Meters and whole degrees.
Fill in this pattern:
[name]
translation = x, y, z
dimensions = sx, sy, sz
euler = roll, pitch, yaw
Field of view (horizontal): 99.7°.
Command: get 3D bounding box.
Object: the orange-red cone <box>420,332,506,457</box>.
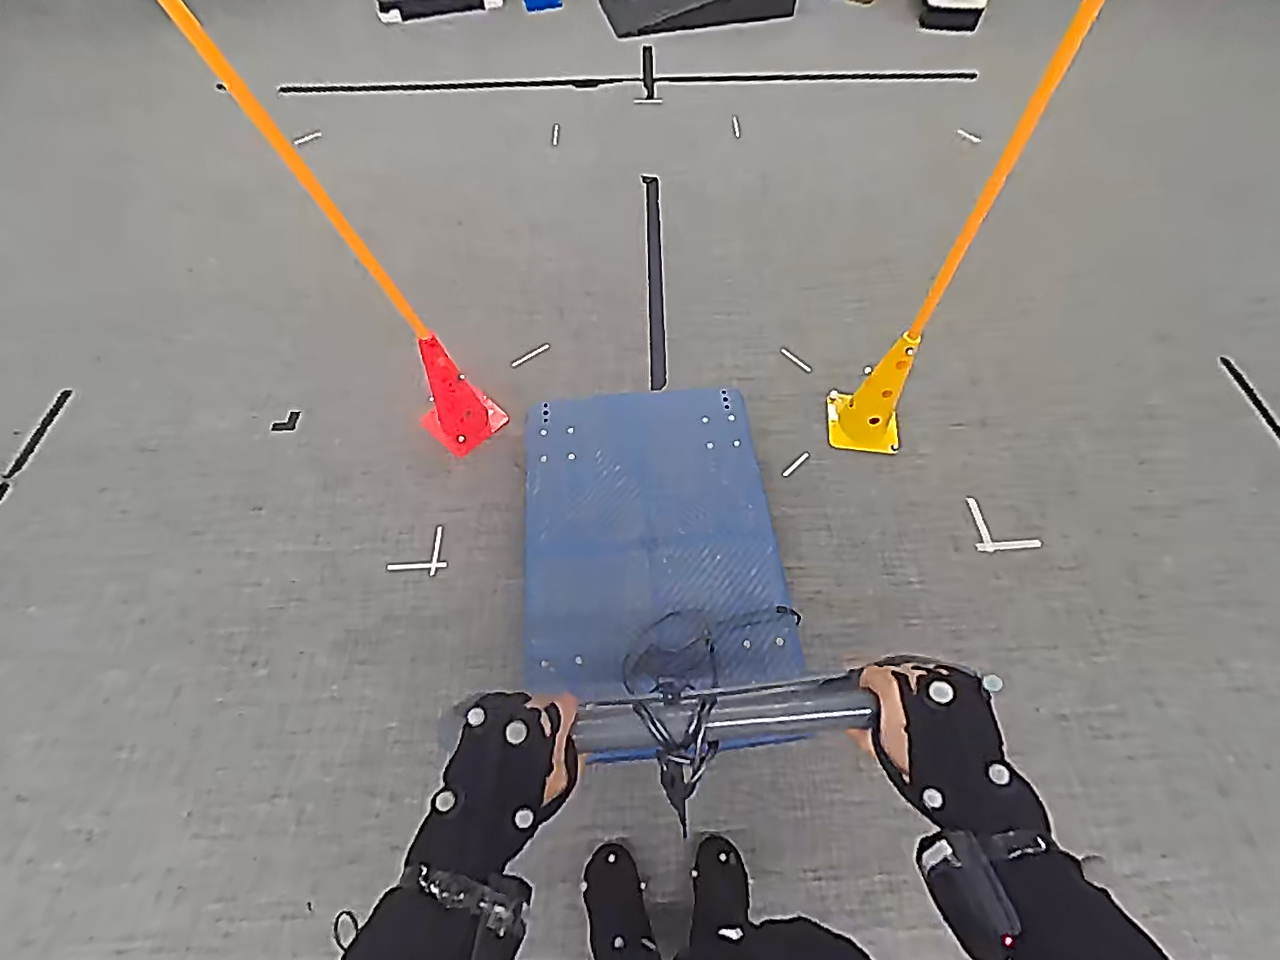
[orange-red cone]
translation = -0.522, -0.260, 1.469
dimensions = 0.198, 0.360, 0.199
euler = 40, 67, 19
